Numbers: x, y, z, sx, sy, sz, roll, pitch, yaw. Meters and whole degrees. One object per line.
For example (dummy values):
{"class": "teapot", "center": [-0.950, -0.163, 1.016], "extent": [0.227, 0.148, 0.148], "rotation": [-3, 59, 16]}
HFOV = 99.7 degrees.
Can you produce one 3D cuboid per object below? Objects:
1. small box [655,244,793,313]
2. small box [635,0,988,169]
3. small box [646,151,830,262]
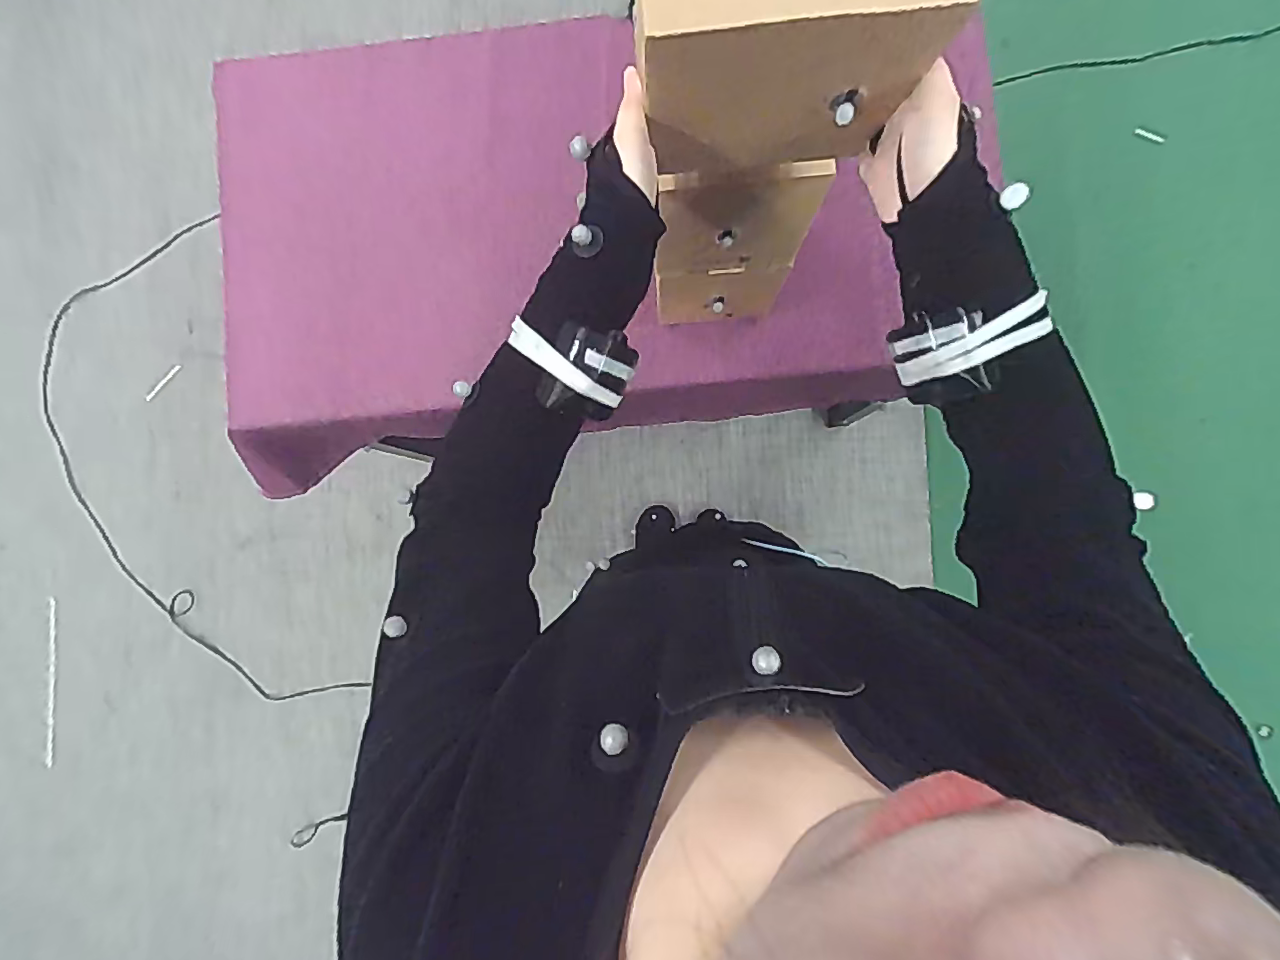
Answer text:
{"class": "small box", "center": [0.103, -0.337, 0.735], "extent": [0.168, 0.176, 0.179], "rotation": [-4, 87, 2]}
{"class": "small box", "center": [0.086, -0.322, 0.344], "extent": [0.179, 0.176, 0.168], "rotation": [-4, 98, 2]}
{"class": "small box", "center": [0.089, -0.345, 0.568], "extent": [0.168, 0.176, 0.179], "rotation": [-2, 85, 1]}
